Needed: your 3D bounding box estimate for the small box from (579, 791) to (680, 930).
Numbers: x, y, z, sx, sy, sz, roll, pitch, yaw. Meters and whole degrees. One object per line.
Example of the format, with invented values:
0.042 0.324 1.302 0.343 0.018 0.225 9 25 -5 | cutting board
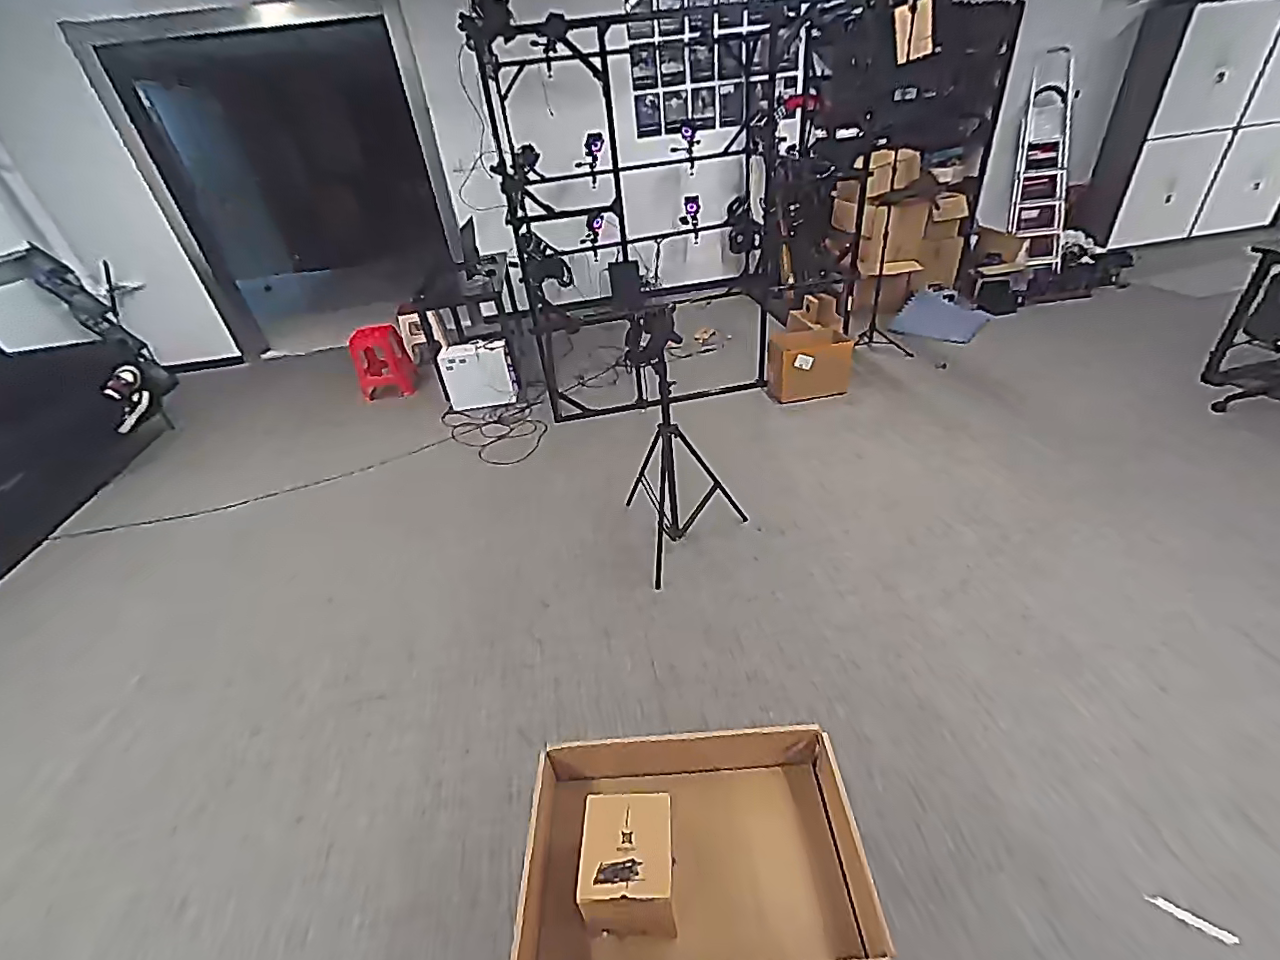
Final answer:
-0.011 0.721 1.026 0.168 0.176 0.179 -4 33 5 | small box
